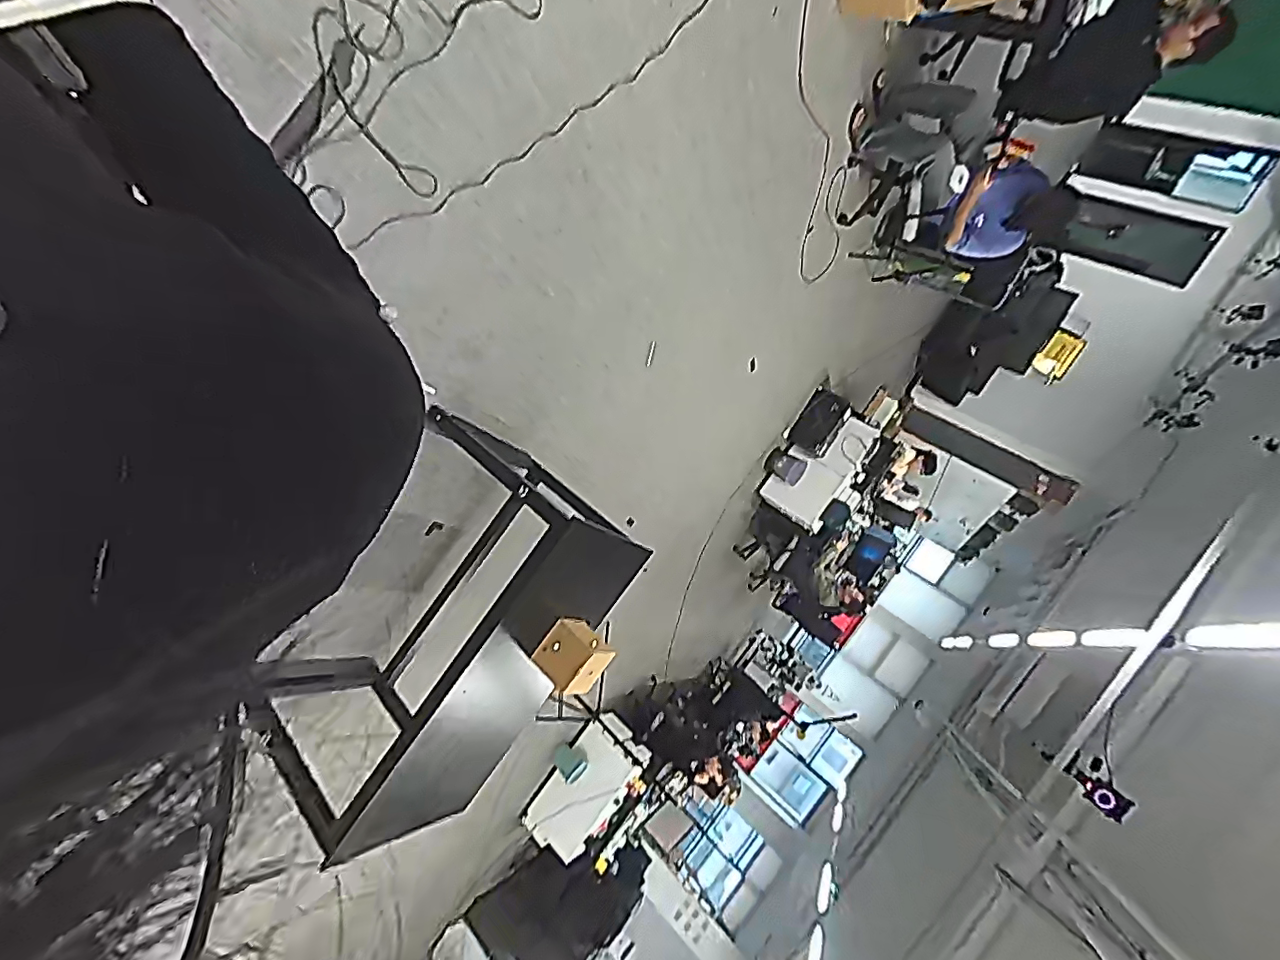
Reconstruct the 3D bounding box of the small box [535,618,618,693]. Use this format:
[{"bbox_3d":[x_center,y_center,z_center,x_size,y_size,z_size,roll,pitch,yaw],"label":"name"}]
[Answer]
[{"bbox_3d":[-0.208,0.572,1.776,0.168,0.176,0.179,-54,152,-1],"label":"small box"}]
